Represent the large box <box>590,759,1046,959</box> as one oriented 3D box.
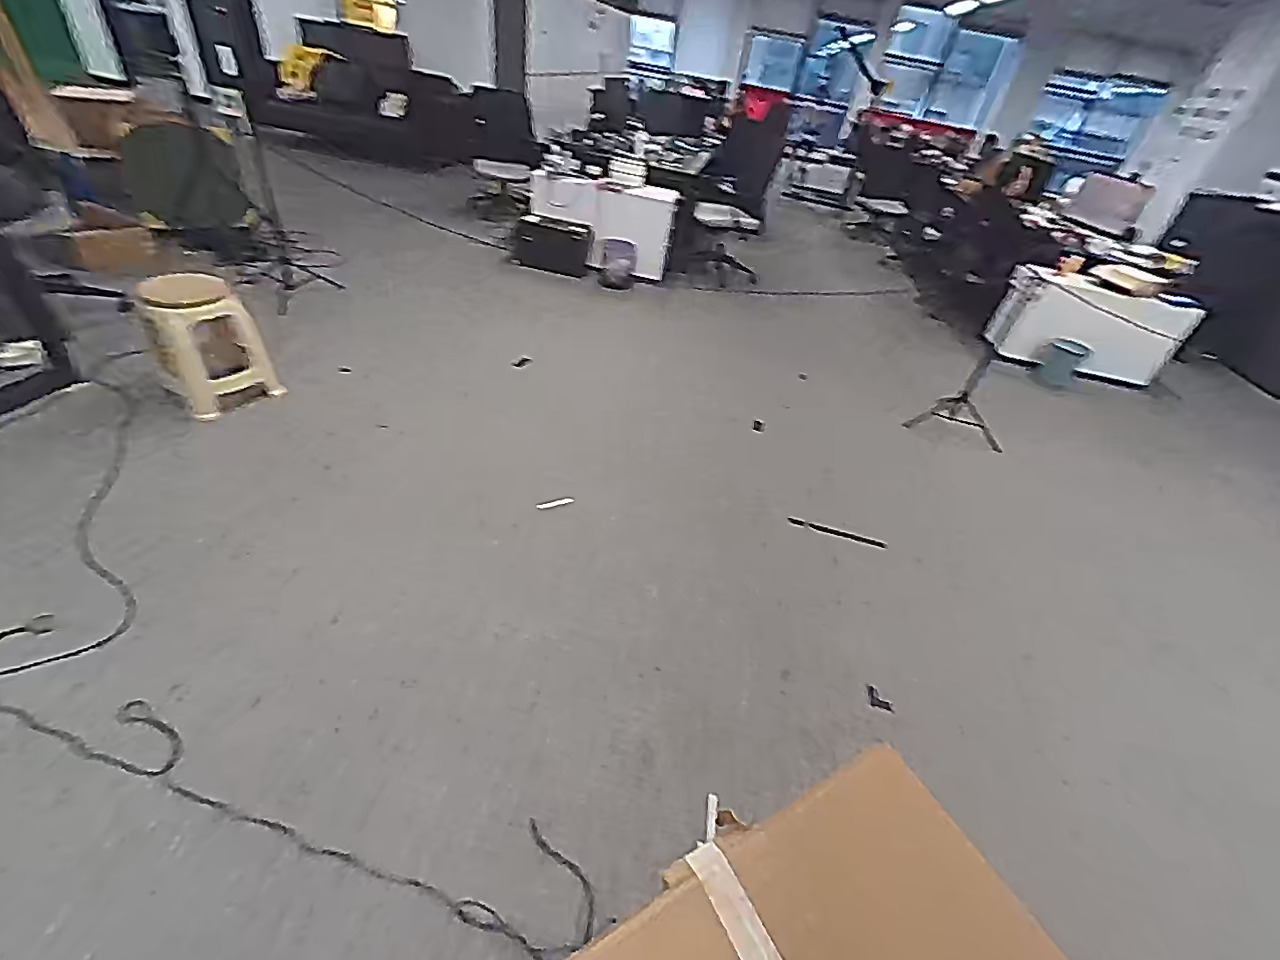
[{"bbox_3d":[0.130,0.476,0.323,0.320,0.320,0.408,-20,49,-22],"label":"large box"}]
